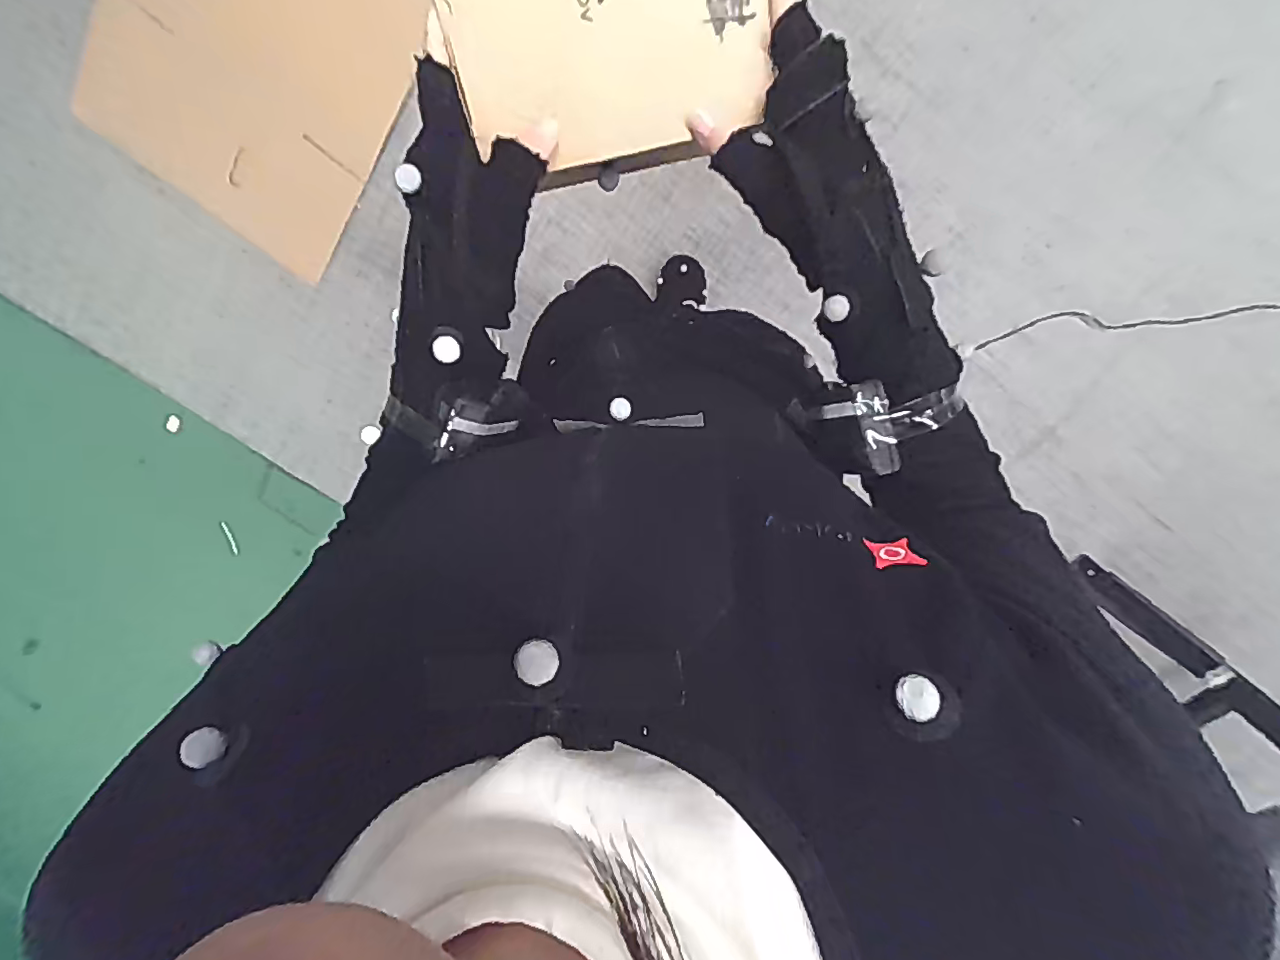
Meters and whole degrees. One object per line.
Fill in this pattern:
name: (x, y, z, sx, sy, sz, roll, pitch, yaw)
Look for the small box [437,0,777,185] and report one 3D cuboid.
small box: (-0.025, -0.308, 0.352, 0.179, 0.176, 0.168, -13, 113, 5)
